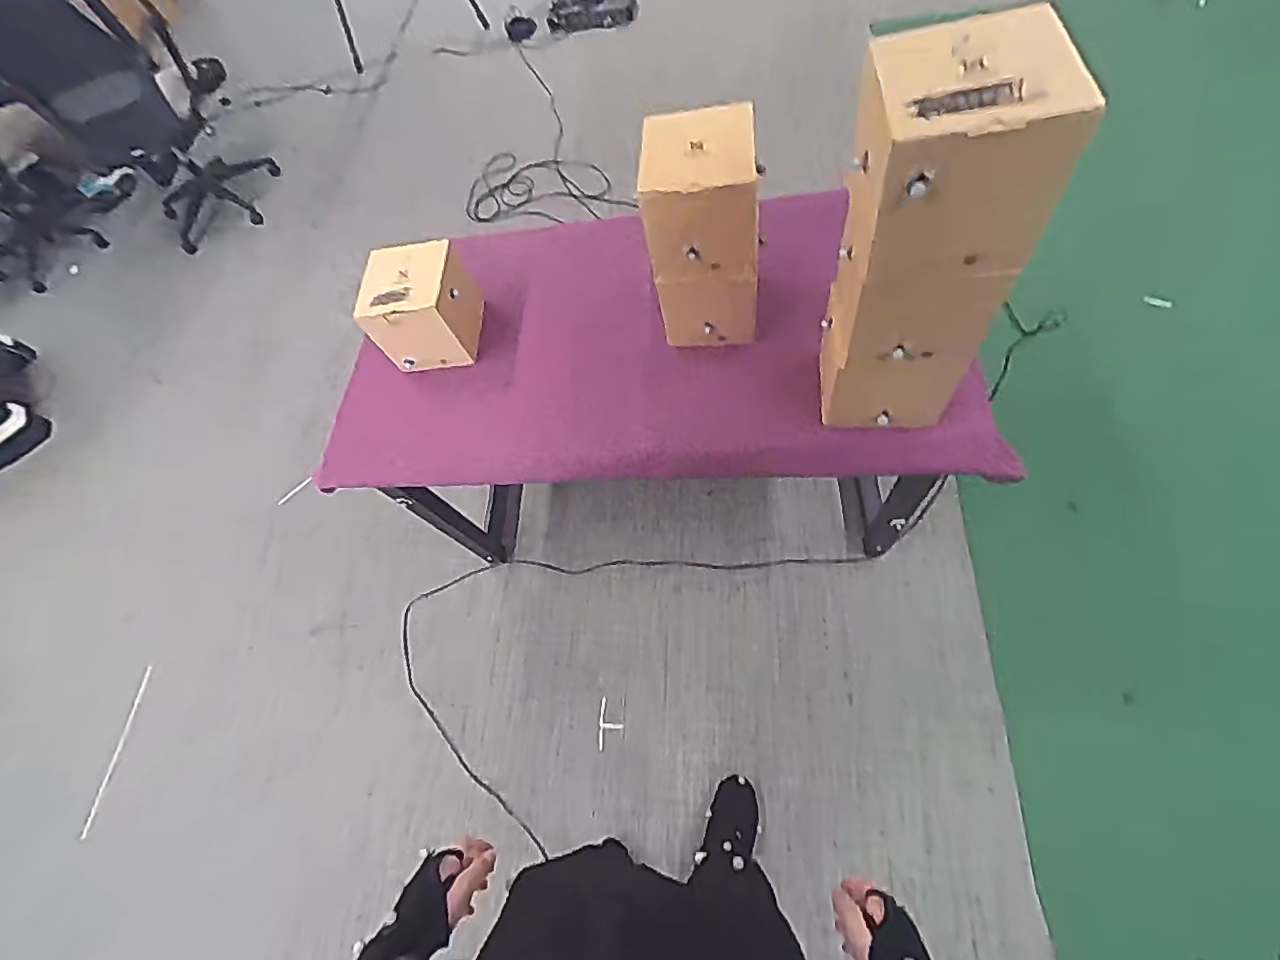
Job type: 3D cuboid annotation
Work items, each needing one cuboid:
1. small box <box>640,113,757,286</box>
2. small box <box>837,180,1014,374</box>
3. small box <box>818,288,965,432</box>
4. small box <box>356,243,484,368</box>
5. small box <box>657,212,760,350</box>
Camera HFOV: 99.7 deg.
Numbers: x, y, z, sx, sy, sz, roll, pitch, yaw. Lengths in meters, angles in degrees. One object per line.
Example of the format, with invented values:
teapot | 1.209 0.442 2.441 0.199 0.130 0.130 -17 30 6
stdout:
small box | 0.098 -0.436 0.856 0.168 0.176 0.179 -1 66 10
small box | 0.360 -0.262 0.721 0.168 0.176 0.179 1 64 13
small box | 0.386 -0.187 0.864 0.179 0.176 0.168 2 64 12
small box | -0.430 -0.341 1.090 0.168 0.176 0.179 -4 63 8
small box | 0.131 -0.362 0.997 0.168 0.176 0.179 2 65 12
